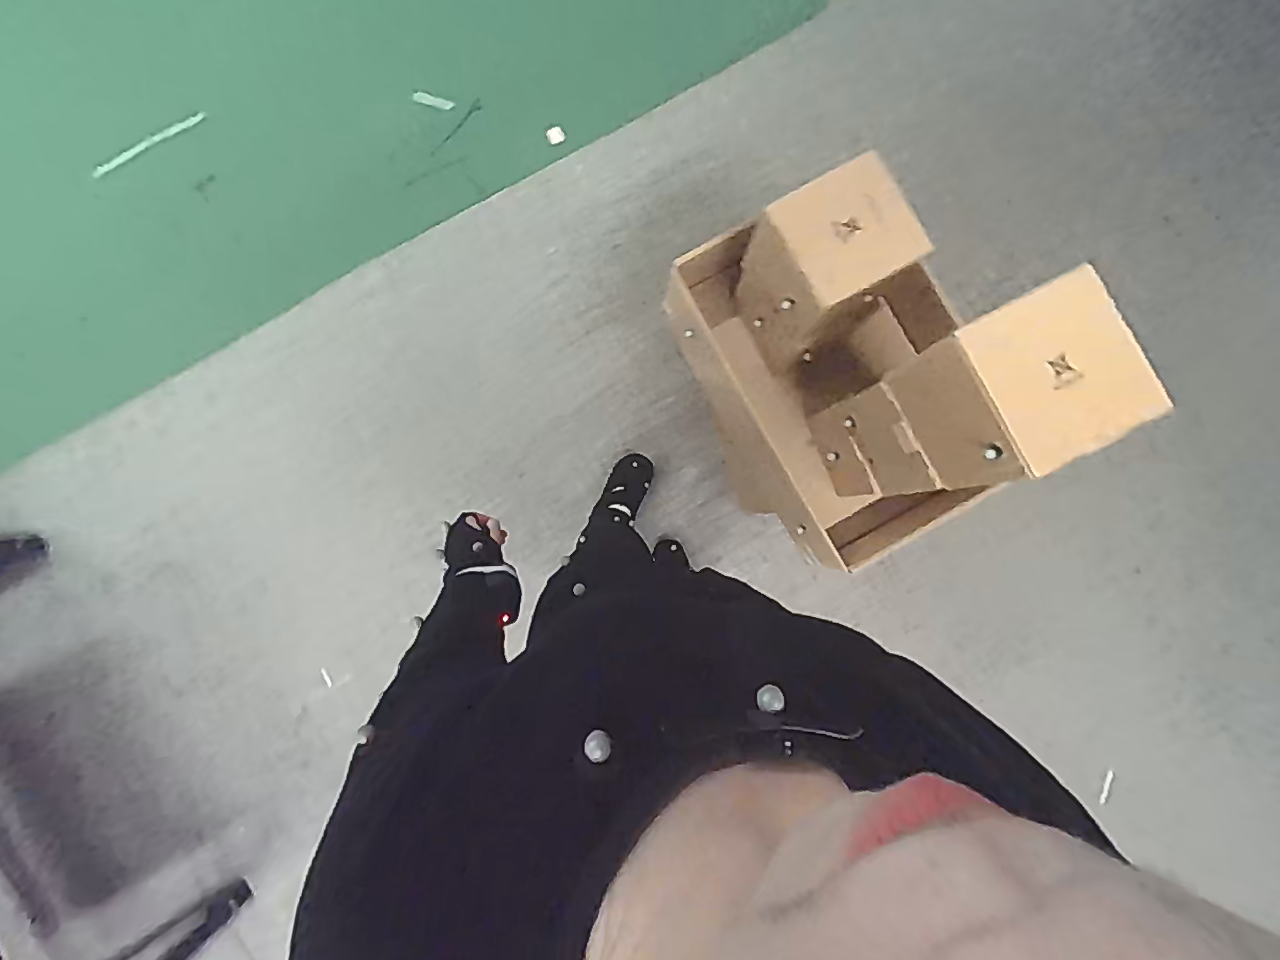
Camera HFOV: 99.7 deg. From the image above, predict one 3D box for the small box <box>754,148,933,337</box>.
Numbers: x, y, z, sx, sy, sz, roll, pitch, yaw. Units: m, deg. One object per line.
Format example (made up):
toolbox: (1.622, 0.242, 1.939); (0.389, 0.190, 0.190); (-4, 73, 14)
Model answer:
small box: (0.288, -0.343, 0.818); (0.179, 0.176, 0.168); (-28, 87, -2)

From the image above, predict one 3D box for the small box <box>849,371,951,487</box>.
small box: (0.437, -0.097, 0.804); (0.179, 0.176, 0.168); (-26, 87, -2)

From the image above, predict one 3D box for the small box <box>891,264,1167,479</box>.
small box: (0.437, -0.112, 0.641); (0.168, 0.176, 0.179); (-27, 88, -2)
